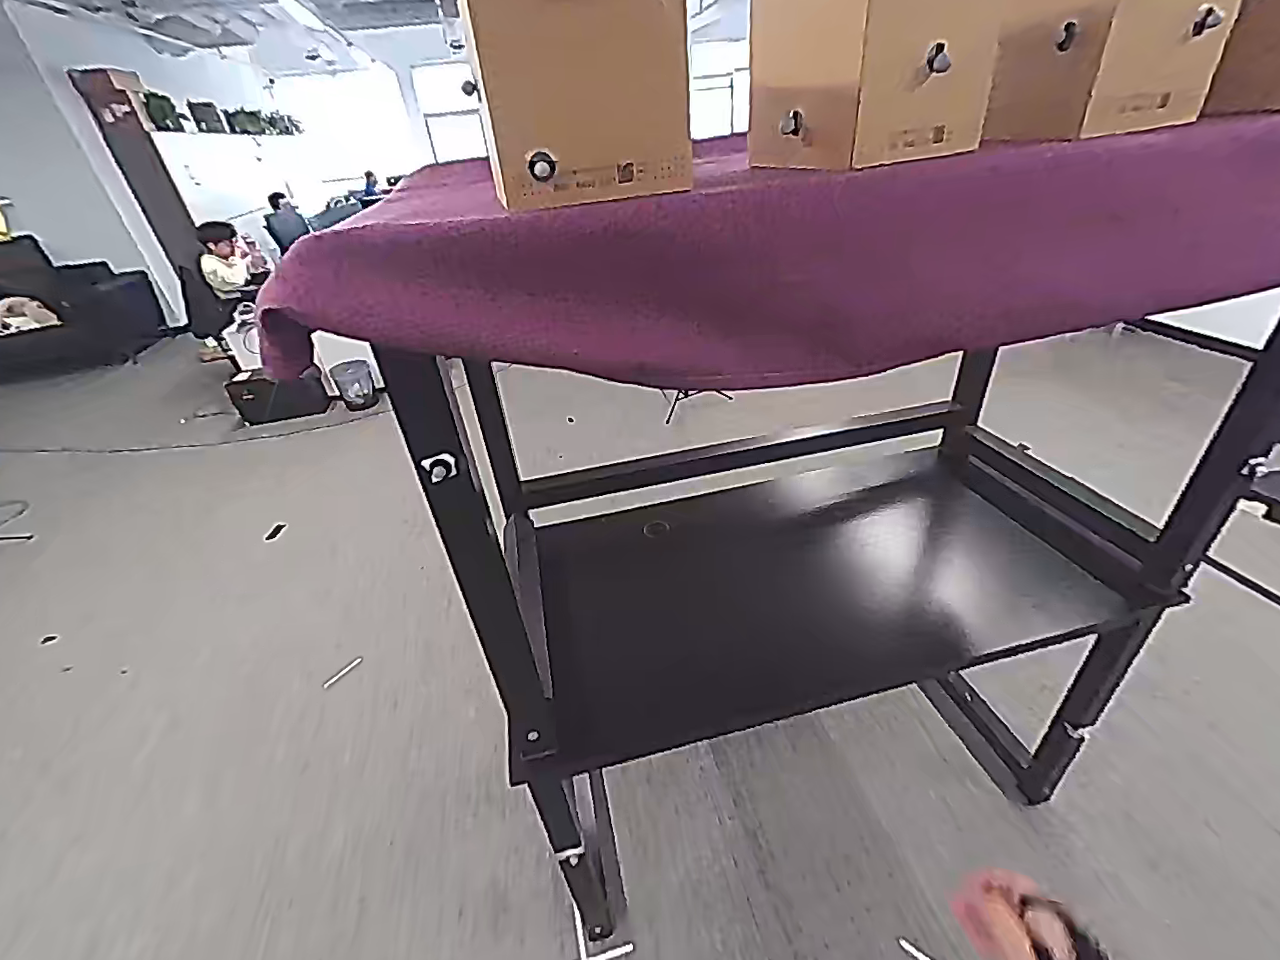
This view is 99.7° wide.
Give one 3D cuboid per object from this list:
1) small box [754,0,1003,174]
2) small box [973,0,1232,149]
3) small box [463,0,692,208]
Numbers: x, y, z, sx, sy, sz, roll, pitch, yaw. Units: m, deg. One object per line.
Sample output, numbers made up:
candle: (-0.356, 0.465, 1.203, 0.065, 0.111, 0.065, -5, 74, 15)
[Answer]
small box: (0.231, -0.415, 0.546, 0.168, 0.176, 0.179, -17, 35, -17)
small box: (0.491, -0.472, 0.594, 0.168, 0.176, 0.179, -13, 33, -12)
small box: (-0.057, -0.350, 0.491, 0.168, 0.176, 0.179, -13, 32, -11)
